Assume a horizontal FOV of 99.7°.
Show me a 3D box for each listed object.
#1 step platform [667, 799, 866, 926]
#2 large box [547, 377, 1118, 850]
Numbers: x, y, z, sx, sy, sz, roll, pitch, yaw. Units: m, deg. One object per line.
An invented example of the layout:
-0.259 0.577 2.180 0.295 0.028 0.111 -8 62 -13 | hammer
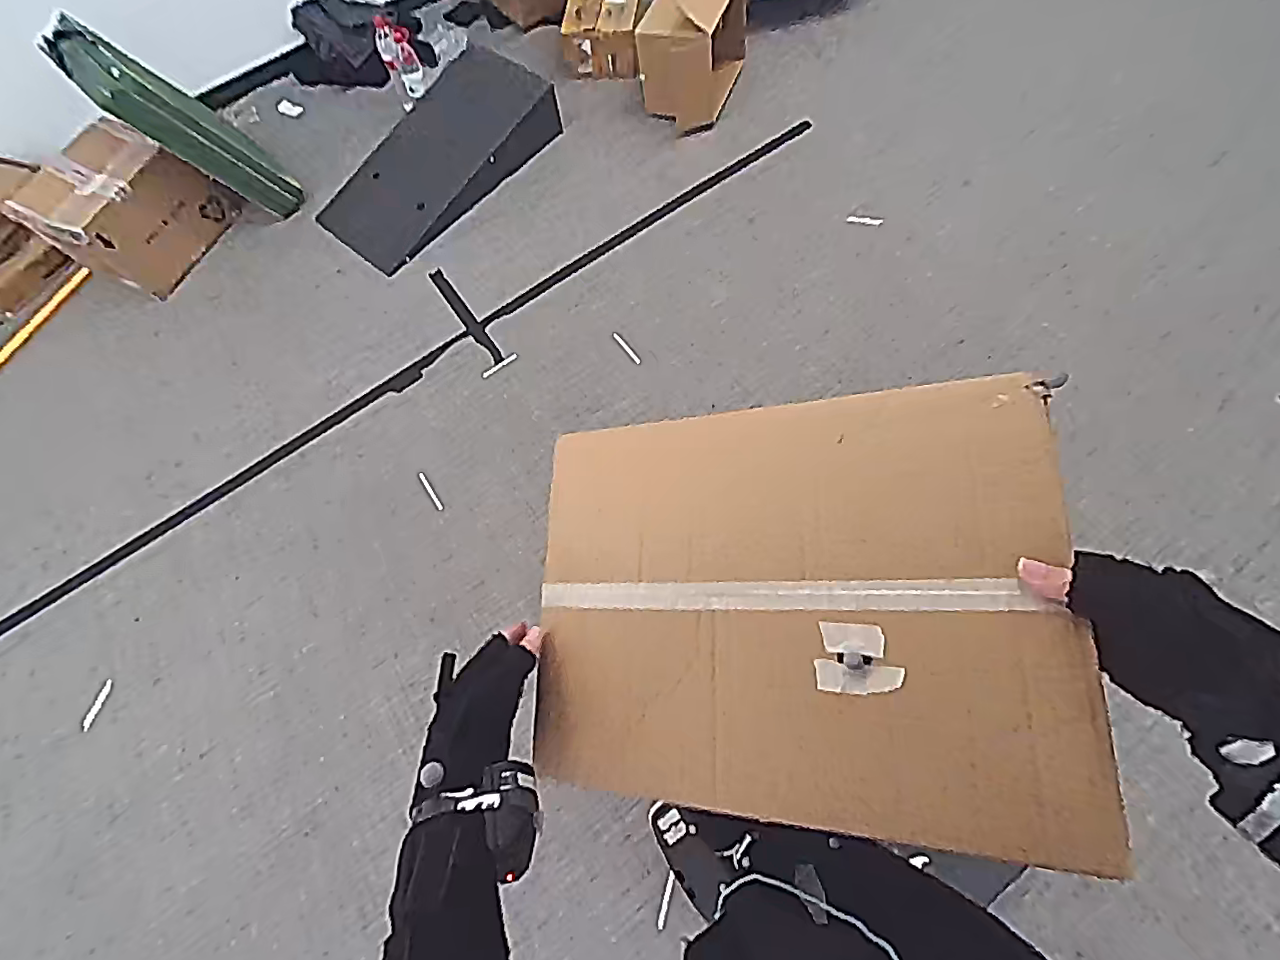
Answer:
0.397 0.671 1.273 0.684 0.204 0.286 -36 69 -10 | step platform
0.159 0.130 0.563 0.408 0.320 0.320 -6 74 23 | large box
